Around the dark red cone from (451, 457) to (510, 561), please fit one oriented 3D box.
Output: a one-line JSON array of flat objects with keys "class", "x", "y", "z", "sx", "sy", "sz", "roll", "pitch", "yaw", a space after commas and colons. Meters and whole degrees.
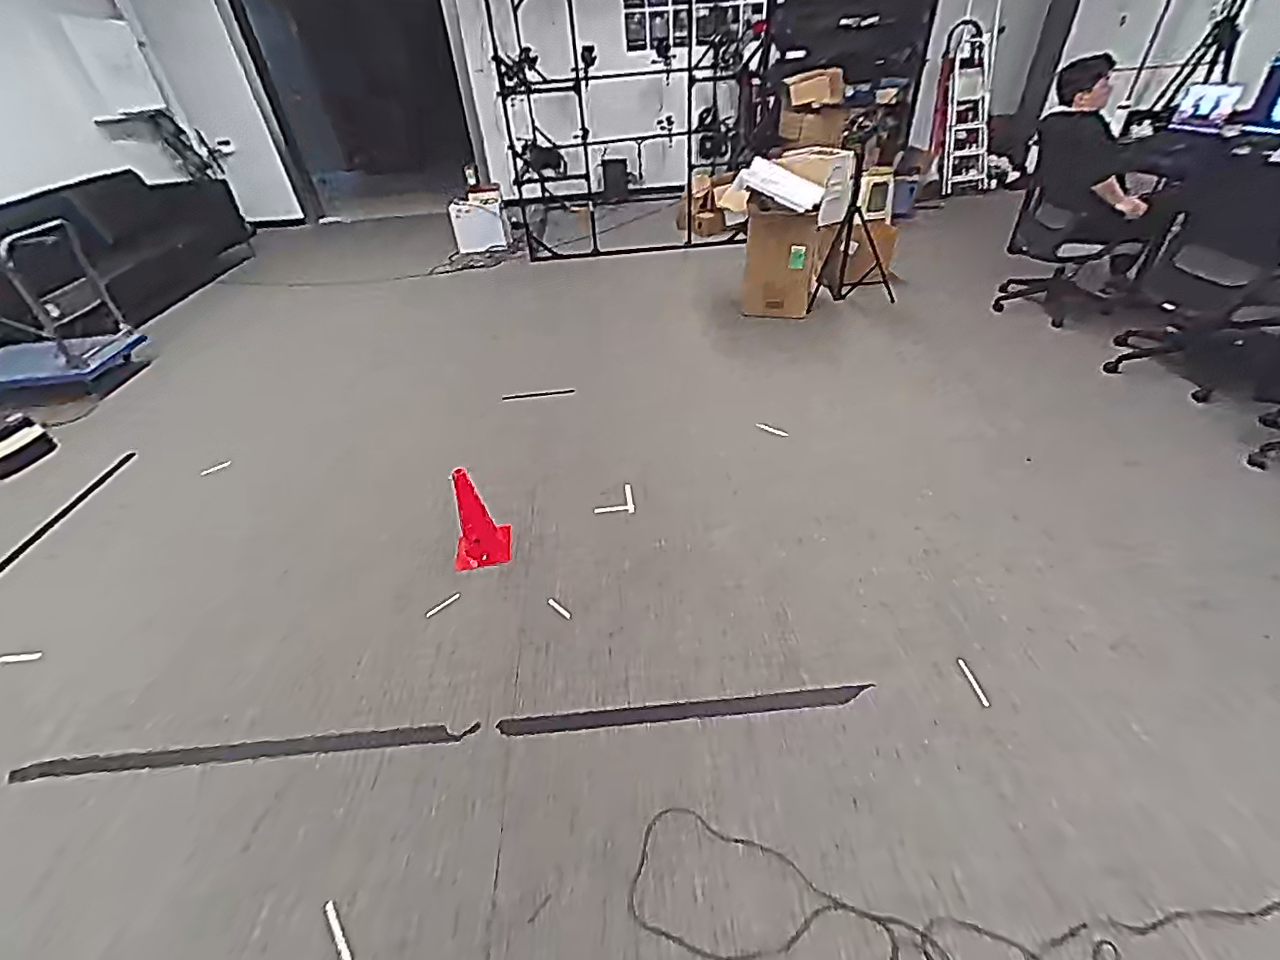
[{"class": "dark red cone", "x": -0.584, "y": 0.087, "z": 1.867, "sx": 0.202, "sy": 0.394, "sz": 0.201, "roll": -10, "pitch": 40, "yaw": -7}]
